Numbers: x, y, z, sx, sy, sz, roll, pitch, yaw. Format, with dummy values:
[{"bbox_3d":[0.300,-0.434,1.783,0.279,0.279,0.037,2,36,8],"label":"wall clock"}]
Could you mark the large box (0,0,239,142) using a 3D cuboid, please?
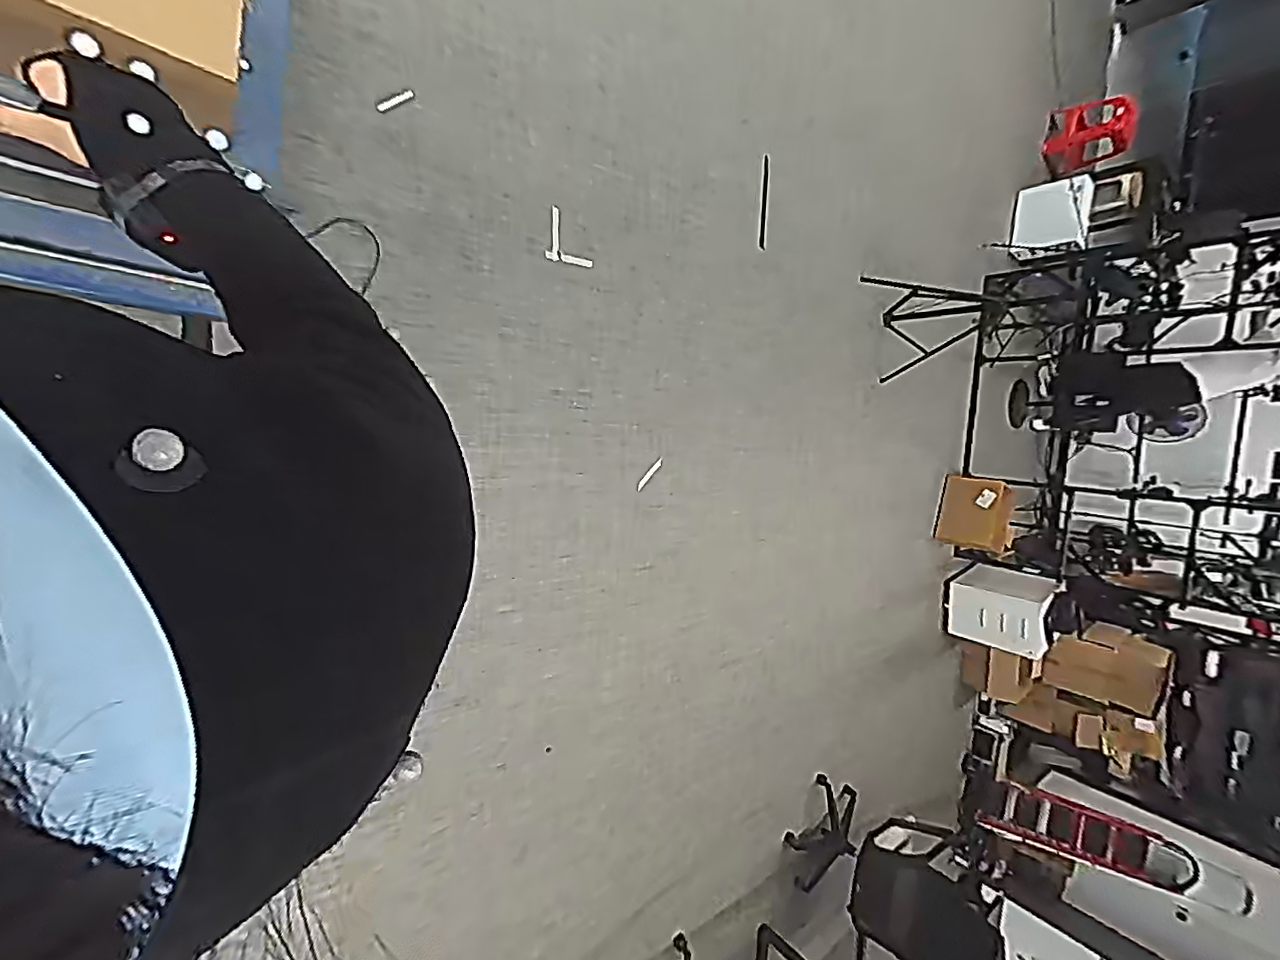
[{"bbox_3d":[-0.832,-0.774,0.781,0.408,0.320,0.320,4,93,-39],"label":"large box"}]
